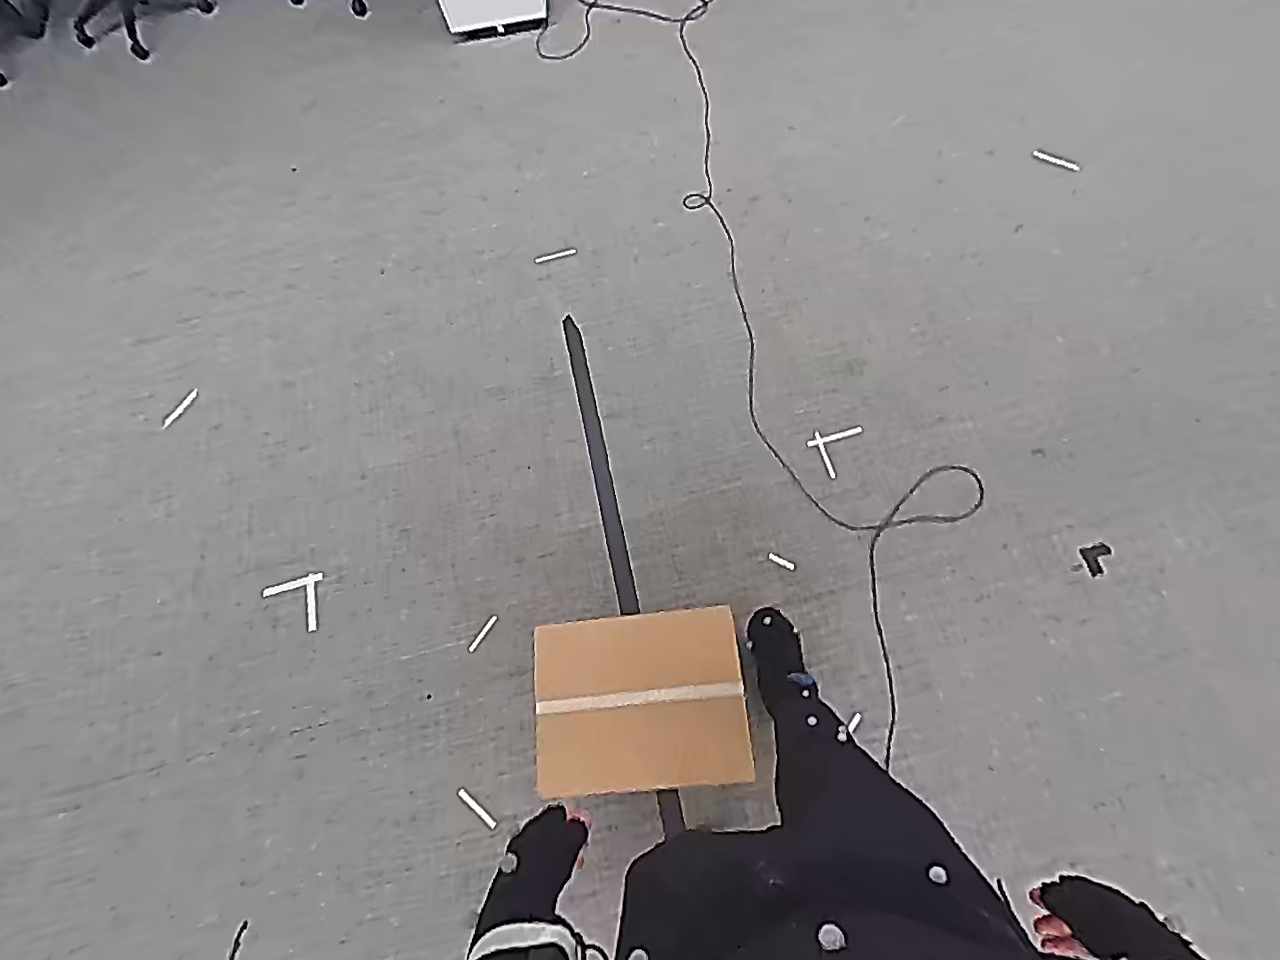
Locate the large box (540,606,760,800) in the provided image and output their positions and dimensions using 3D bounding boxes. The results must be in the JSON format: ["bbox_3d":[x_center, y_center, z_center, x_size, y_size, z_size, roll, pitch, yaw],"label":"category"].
[{"bbox_3d":[0.023,0.472,1.173,0.408,0.320,0.320,-7,70,5],"label":"large box"}]
